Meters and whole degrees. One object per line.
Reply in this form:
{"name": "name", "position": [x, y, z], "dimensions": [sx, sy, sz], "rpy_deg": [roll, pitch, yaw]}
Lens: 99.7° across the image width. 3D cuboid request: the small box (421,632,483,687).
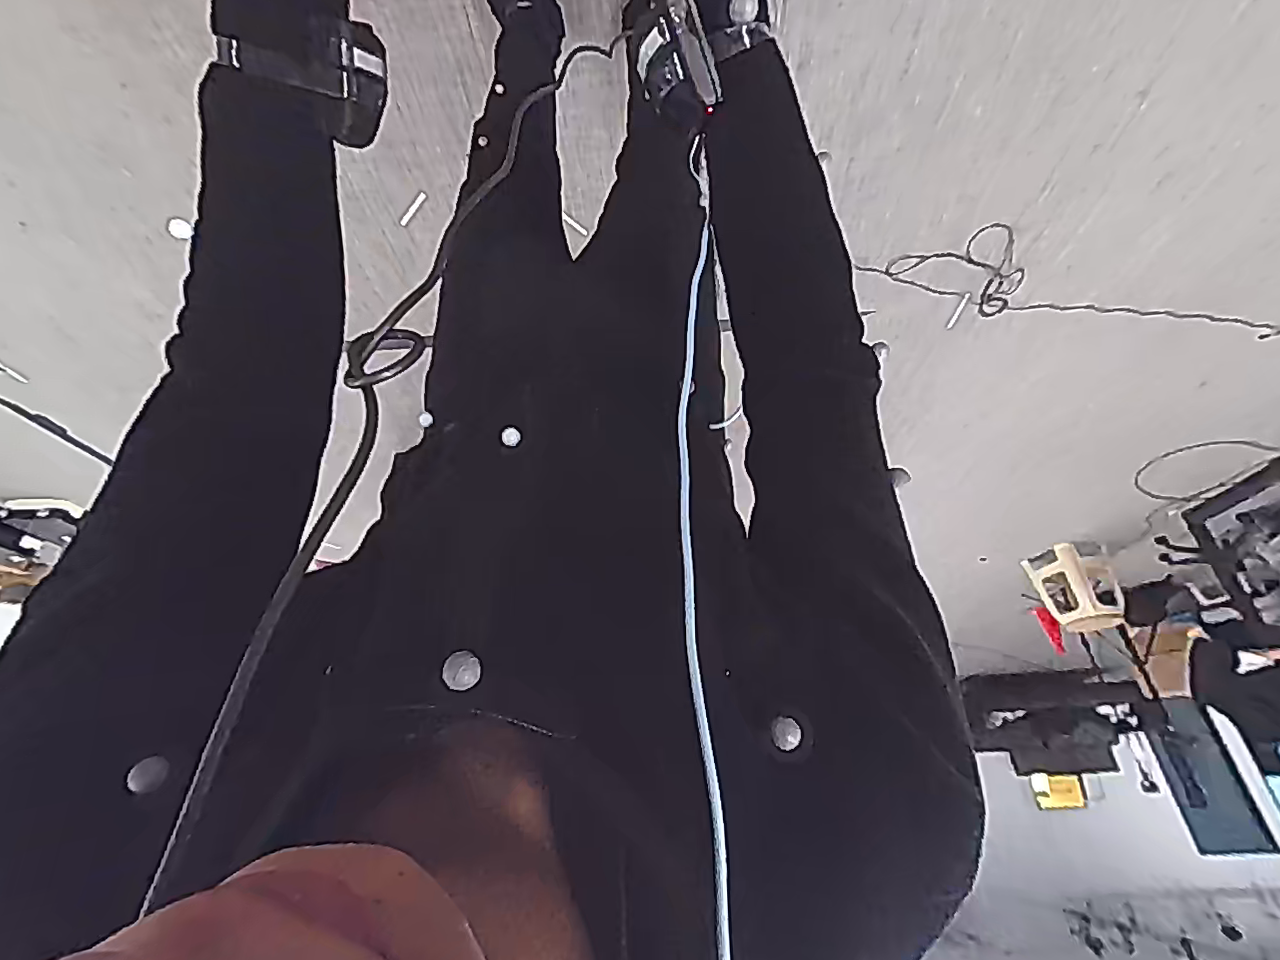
{"name": "small box", "position": [-0.701, 0.677, 2.041], "dimensions": [0.179, 0.176, 0.168], "rpy_deg": [-3, 149, 3]}
